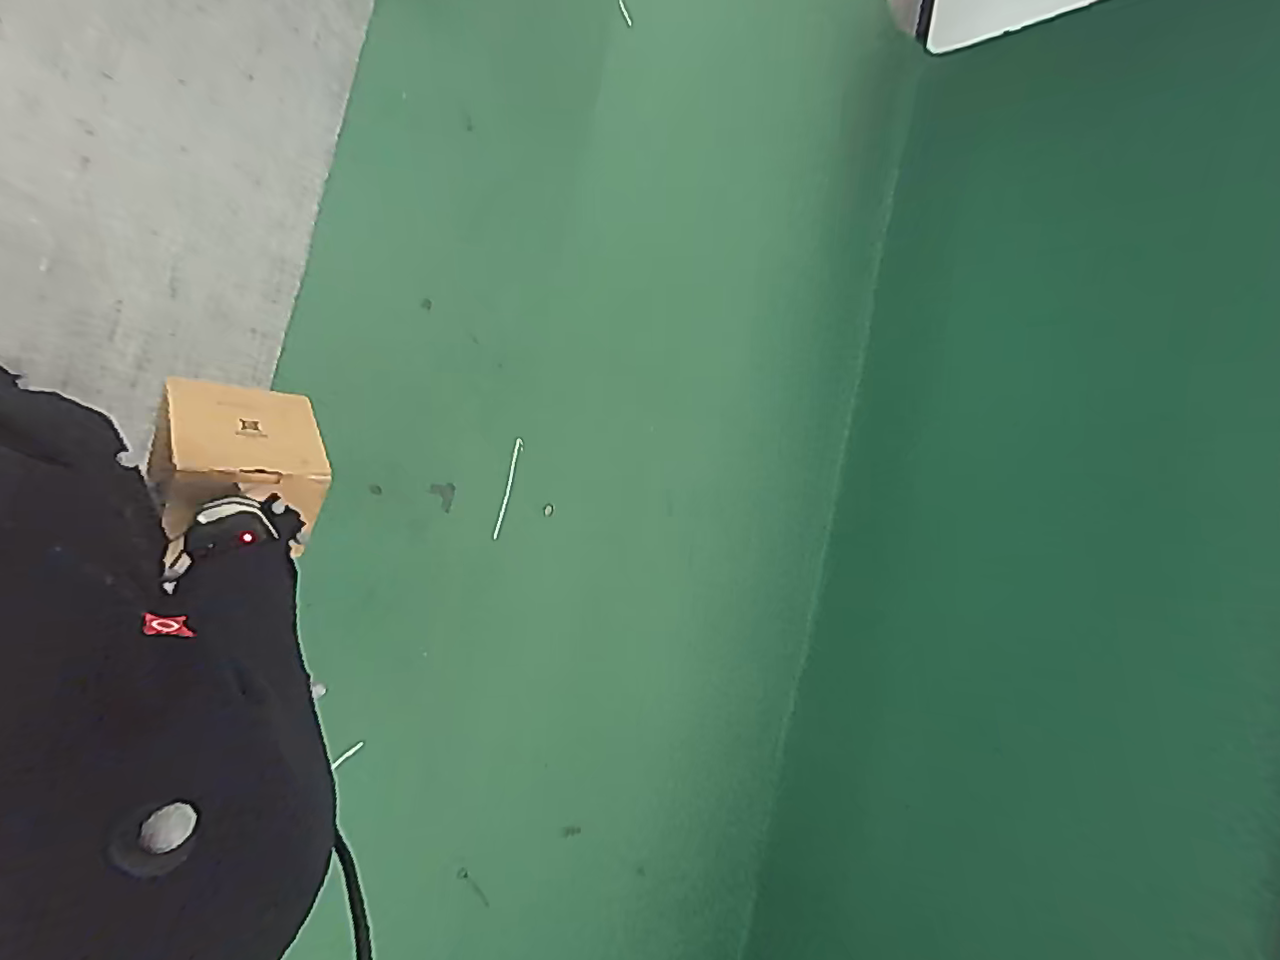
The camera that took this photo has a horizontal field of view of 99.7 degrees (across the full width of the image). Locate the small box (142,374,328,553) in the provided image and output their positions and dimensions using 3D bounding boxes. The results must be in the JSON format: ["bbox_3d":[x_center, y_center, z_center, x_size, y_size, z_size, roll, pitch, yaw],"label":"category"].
[{"bbox_3d":[-0.554,-0.013,0.736,0.168,0.179,0.176,6,129,-49],"label":"small box"}]
